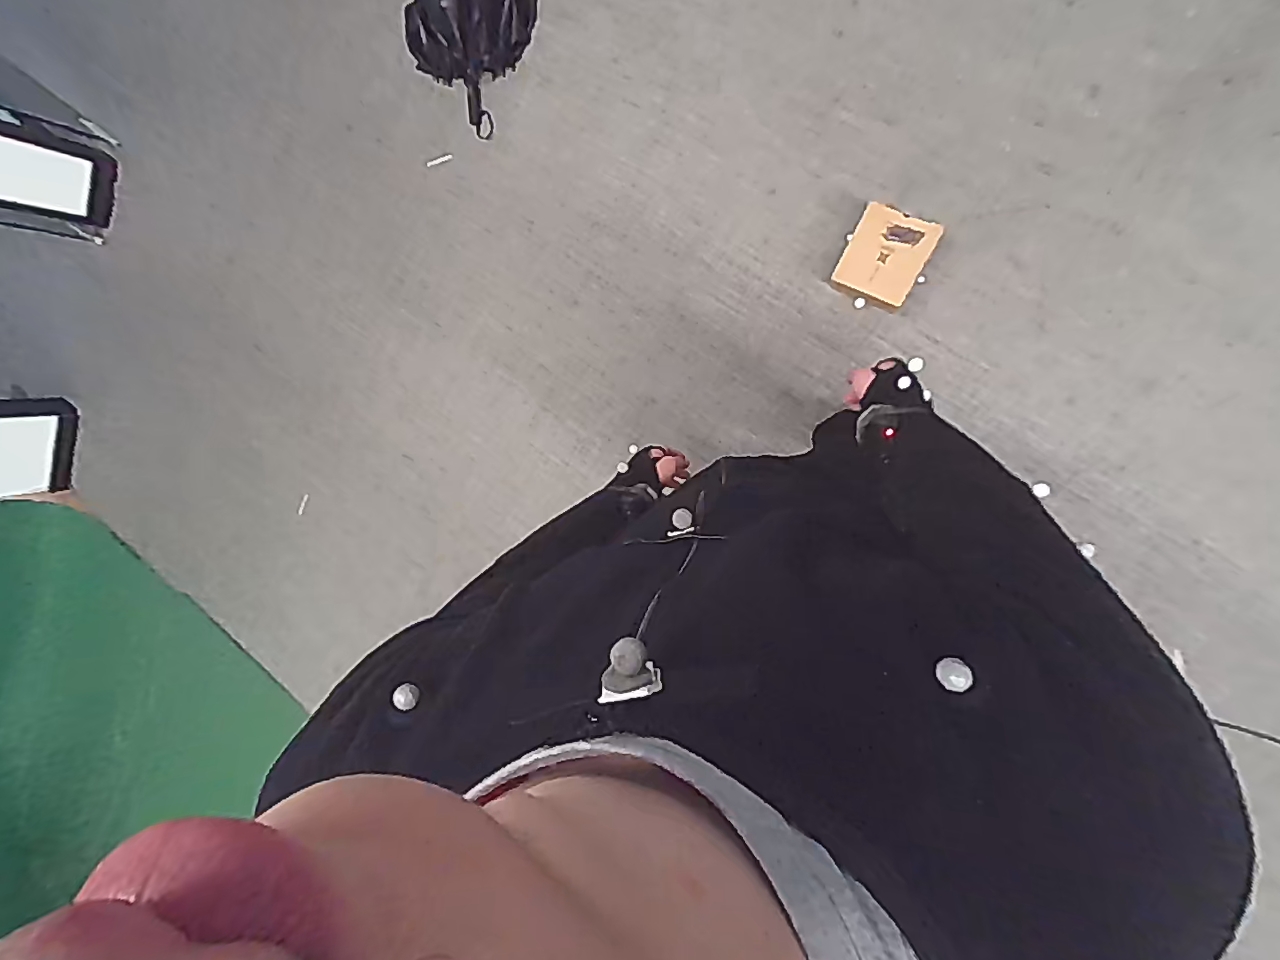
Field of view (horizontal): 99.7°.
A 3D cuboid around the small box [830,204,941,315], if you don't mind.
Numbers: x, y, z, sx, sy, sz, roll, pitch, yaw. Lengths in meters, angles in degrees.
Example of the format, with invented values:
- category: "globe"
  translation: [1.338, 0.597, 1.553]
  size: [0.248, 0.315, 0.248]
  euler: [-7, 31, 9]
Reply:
- category: "small box"
  translation: [0.557, -0.500, 1.250]
  size: [0.168, 0.176, 0.179]
  euler: [29, 110, 14]
